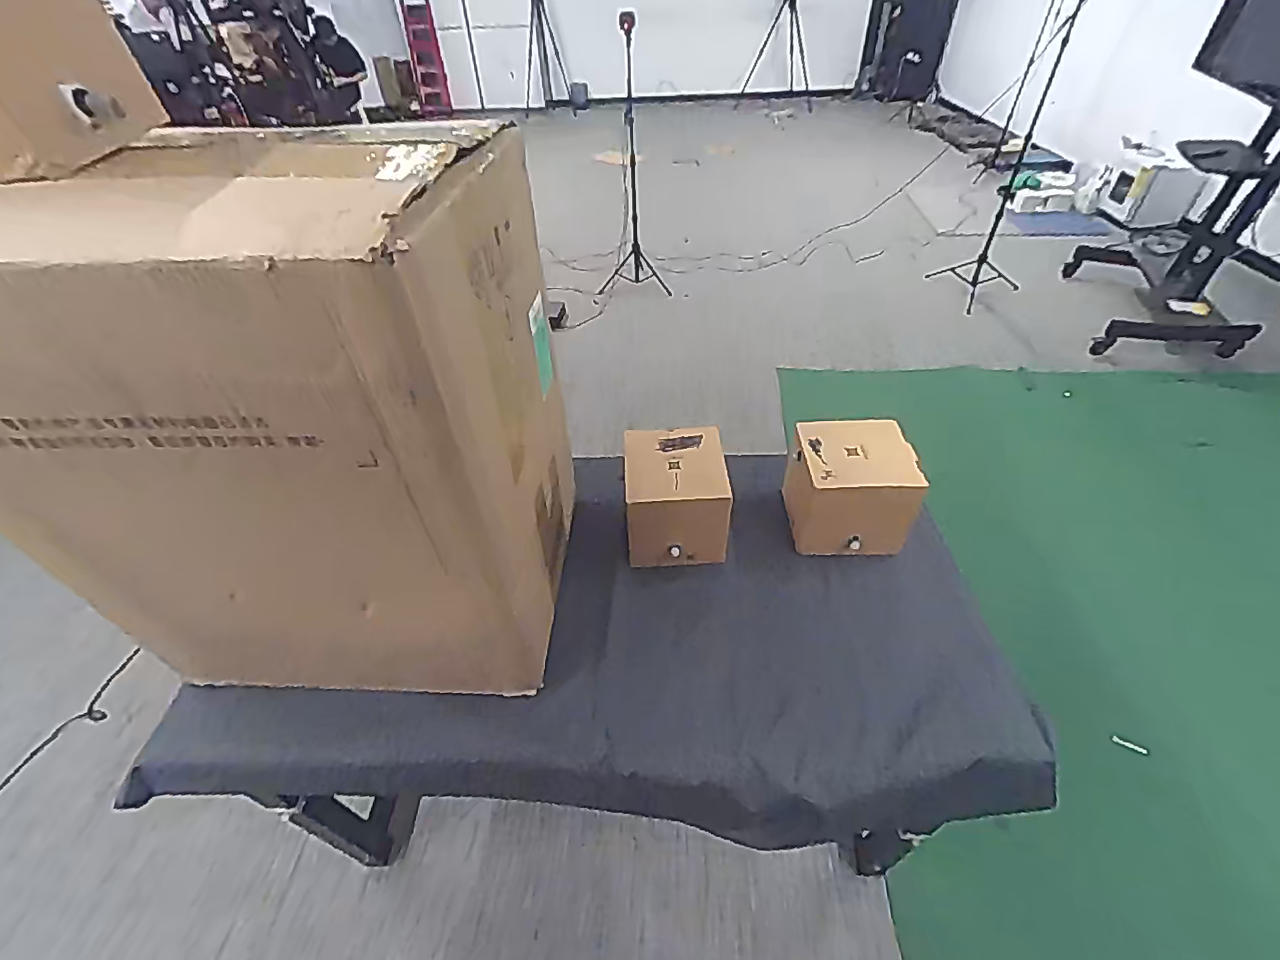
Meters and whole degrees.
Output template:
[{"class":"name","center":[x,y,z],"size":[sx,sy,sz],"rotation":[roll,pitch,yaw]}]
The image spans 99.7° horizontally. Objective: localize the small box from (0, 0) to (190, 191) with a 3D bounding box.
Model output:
[{"class":"small box","center":[-0.543,-0.353,0.444],"size":[0.179,0.176,0.168],"rotation":[-2,49,-1]}]

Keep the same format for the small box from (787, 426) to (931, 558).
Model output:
[{"class":"small box","center":[0.368,0.023,0.945],"size":[0.179,0.176,0.168],"rotation":[0,43,3]}]
